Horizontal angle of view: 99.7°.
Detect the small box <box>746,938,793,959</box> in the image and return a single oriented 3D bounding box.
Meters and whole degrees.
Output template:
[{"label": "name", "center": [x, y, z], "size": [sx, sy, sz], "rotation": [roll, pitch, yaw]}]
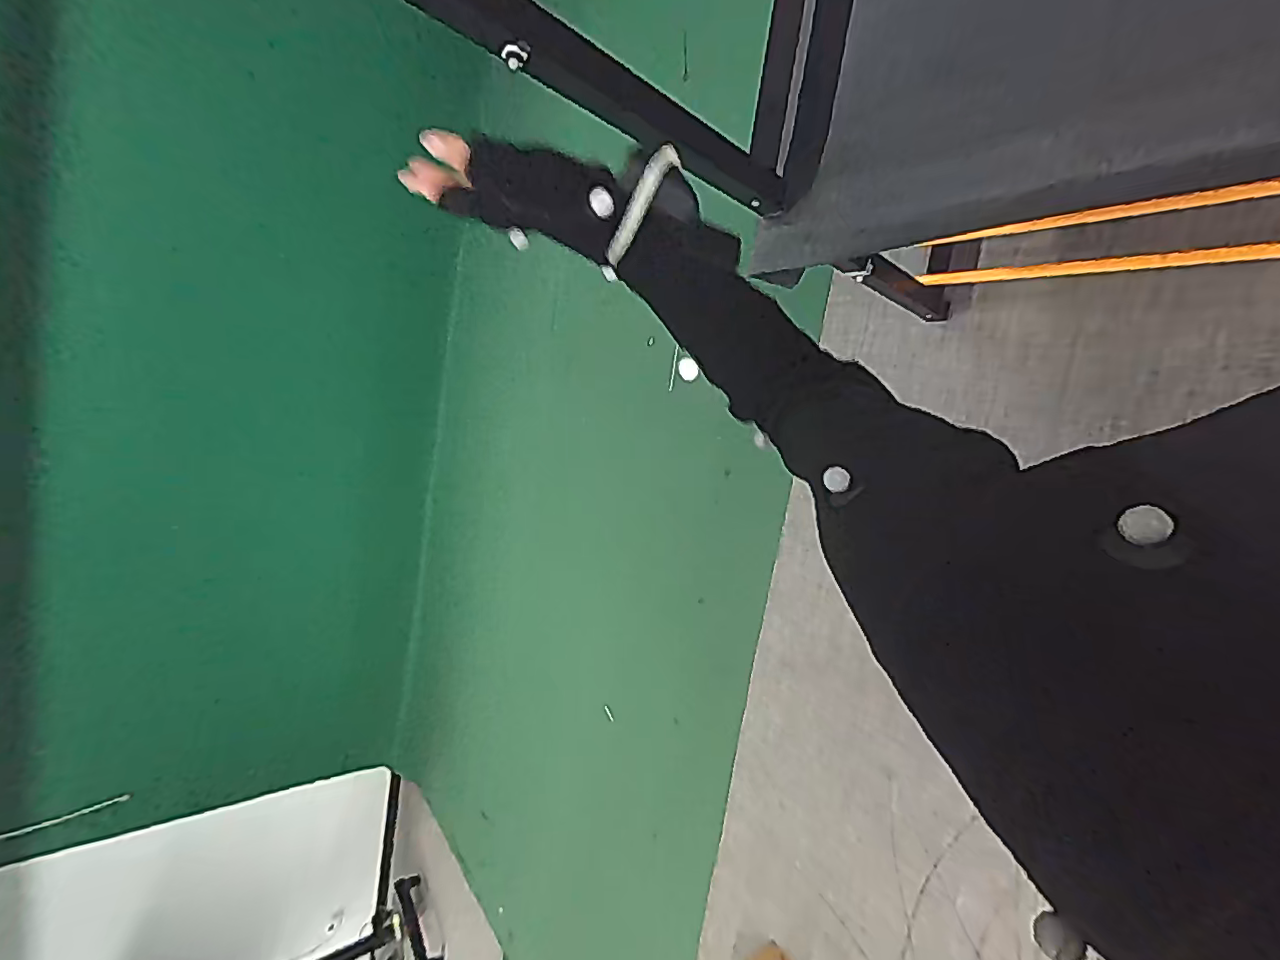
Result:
[{"label": "small box", "center": [0.399, 1.563, 1.643], "size": [0.168, 0.176, 0.179], "rotation": [20, 103, 48]}]
